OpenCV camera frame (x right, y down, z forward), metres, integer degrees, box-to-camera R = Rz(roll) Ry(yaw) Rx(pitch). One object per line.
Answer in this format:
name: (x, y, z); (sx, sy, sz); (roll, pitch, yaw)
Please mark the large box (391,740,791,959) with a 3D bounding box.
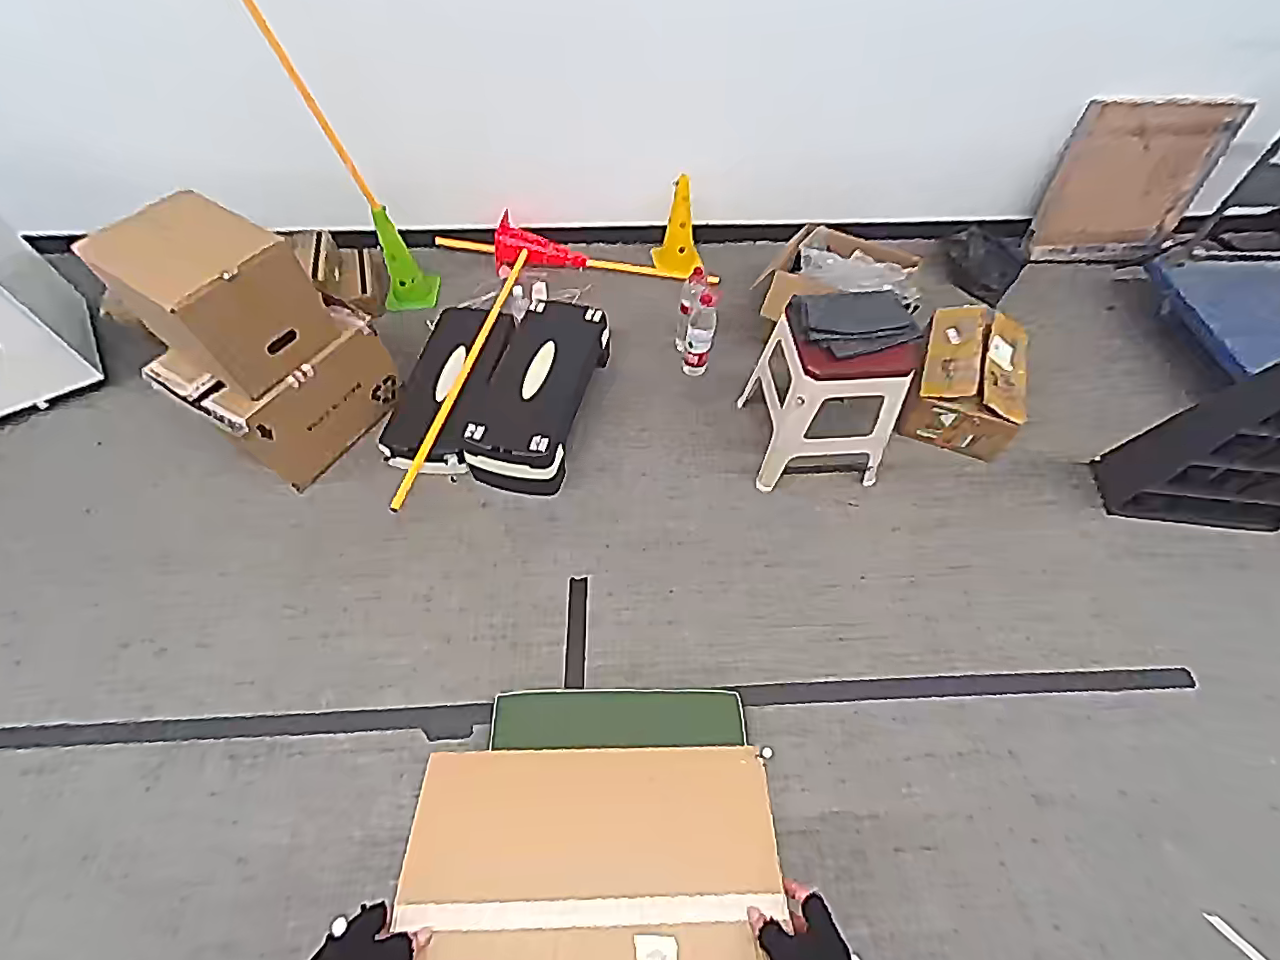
large box: (-0.053, 0.543, 0.673); (0.408, 0.320, 0.320); (0, 47, -2)
